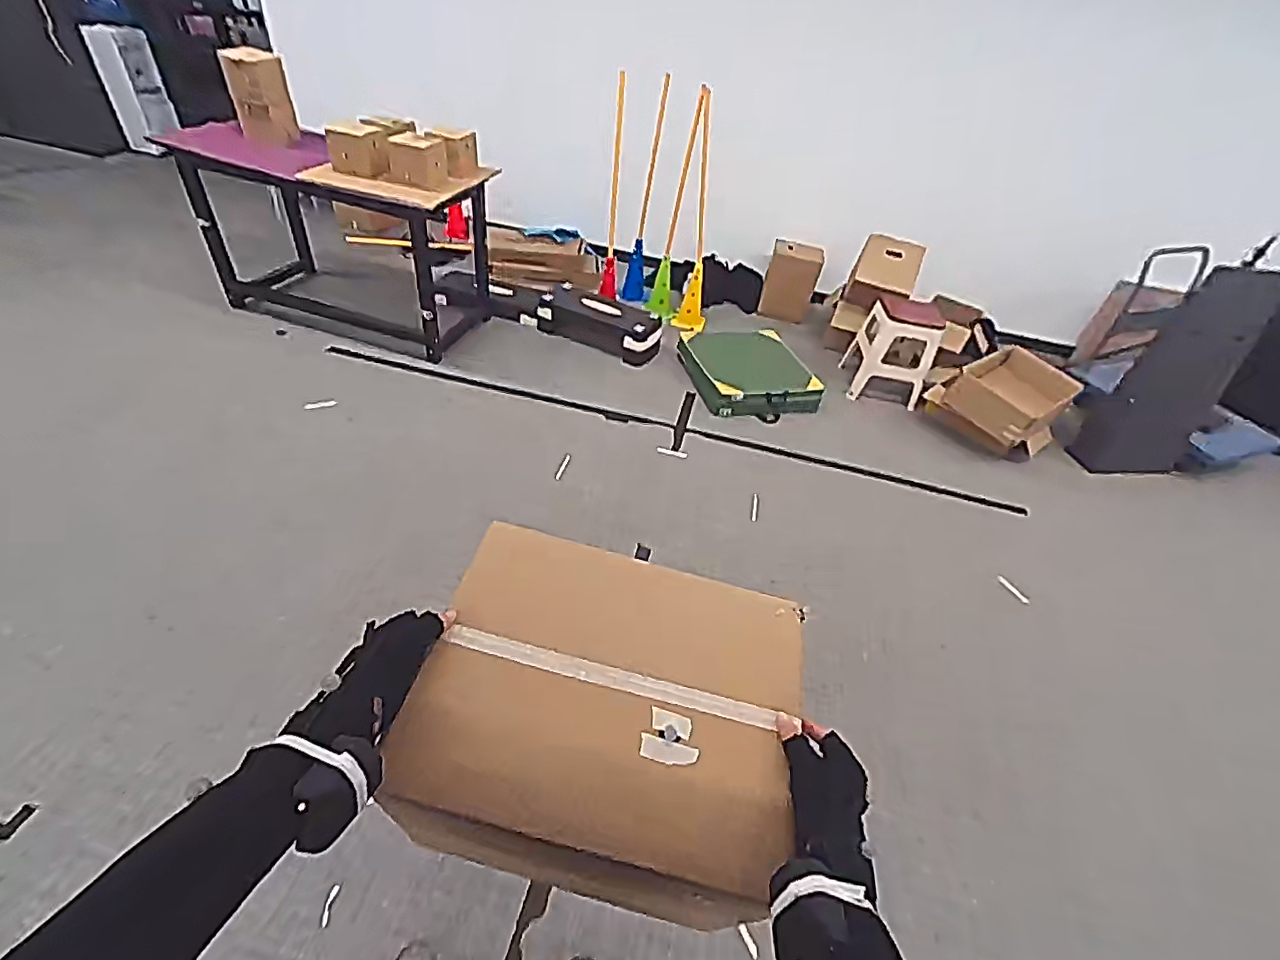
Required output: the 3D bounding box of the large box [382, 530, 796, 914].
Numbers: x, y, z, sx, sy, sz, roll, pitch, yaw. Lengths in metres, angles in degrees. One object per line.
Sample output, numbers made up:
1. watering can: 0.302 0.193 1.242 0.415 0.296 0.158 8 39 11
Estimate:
1. large box: -0.046 0.316 0.706 0.408 0.320 0.320 15 47 1
